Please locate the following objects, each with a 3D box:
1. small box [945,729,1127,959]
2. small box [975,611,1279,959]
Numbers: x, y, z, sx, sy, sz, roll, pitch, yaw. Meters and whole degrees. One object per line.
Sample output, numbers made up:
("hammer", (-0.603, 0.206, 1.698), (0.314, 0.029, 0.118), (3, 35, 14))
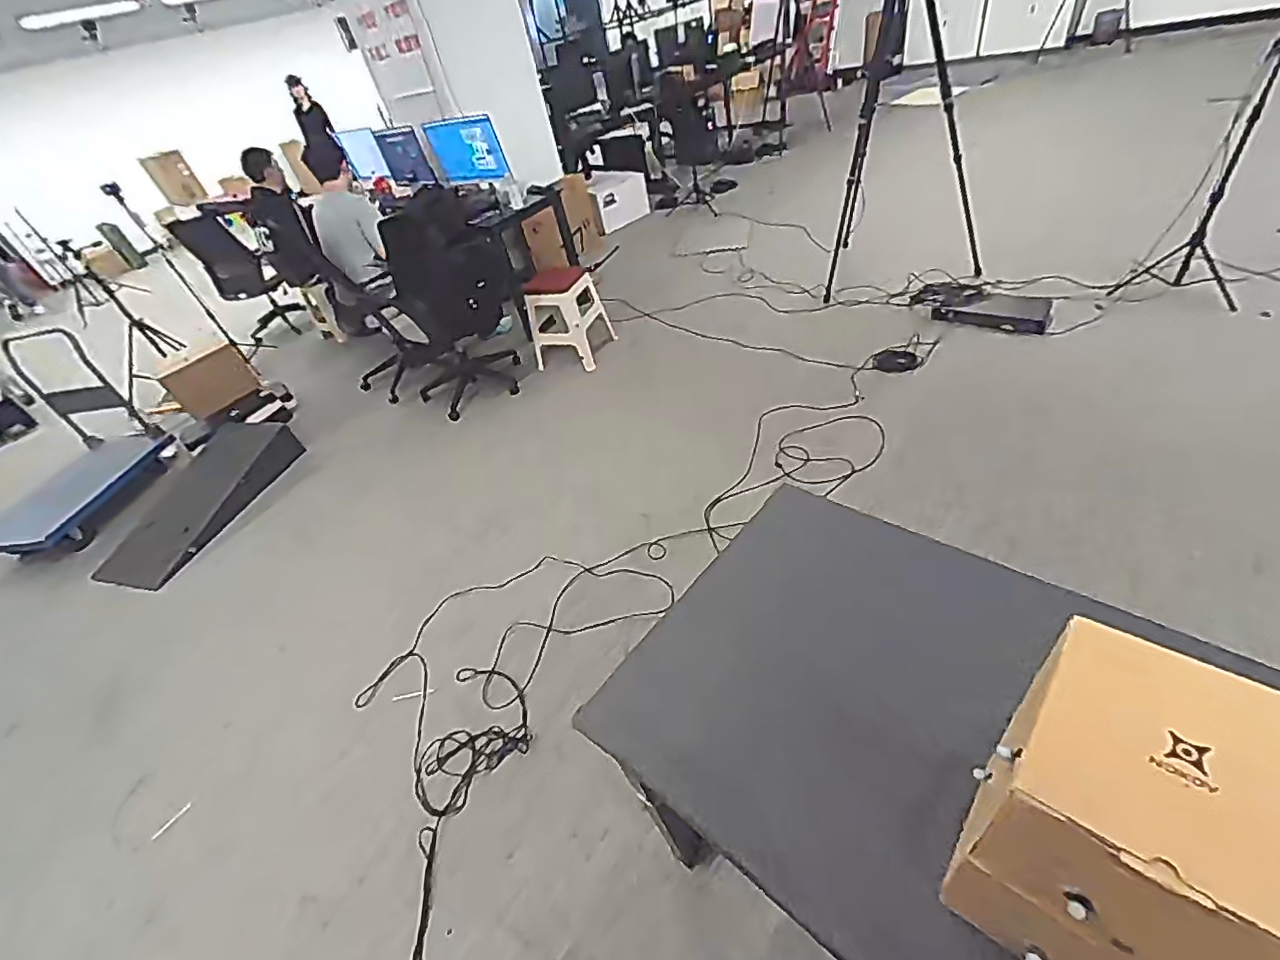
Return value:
("small box", (0.422, 0.365, 0.529), (0.168, 0.176, 0.179), (22, 53, 36))
("small box", (0.389, 0.246, 0.423), (0.168, 0.176, 0.179), (23, 53, 36))
